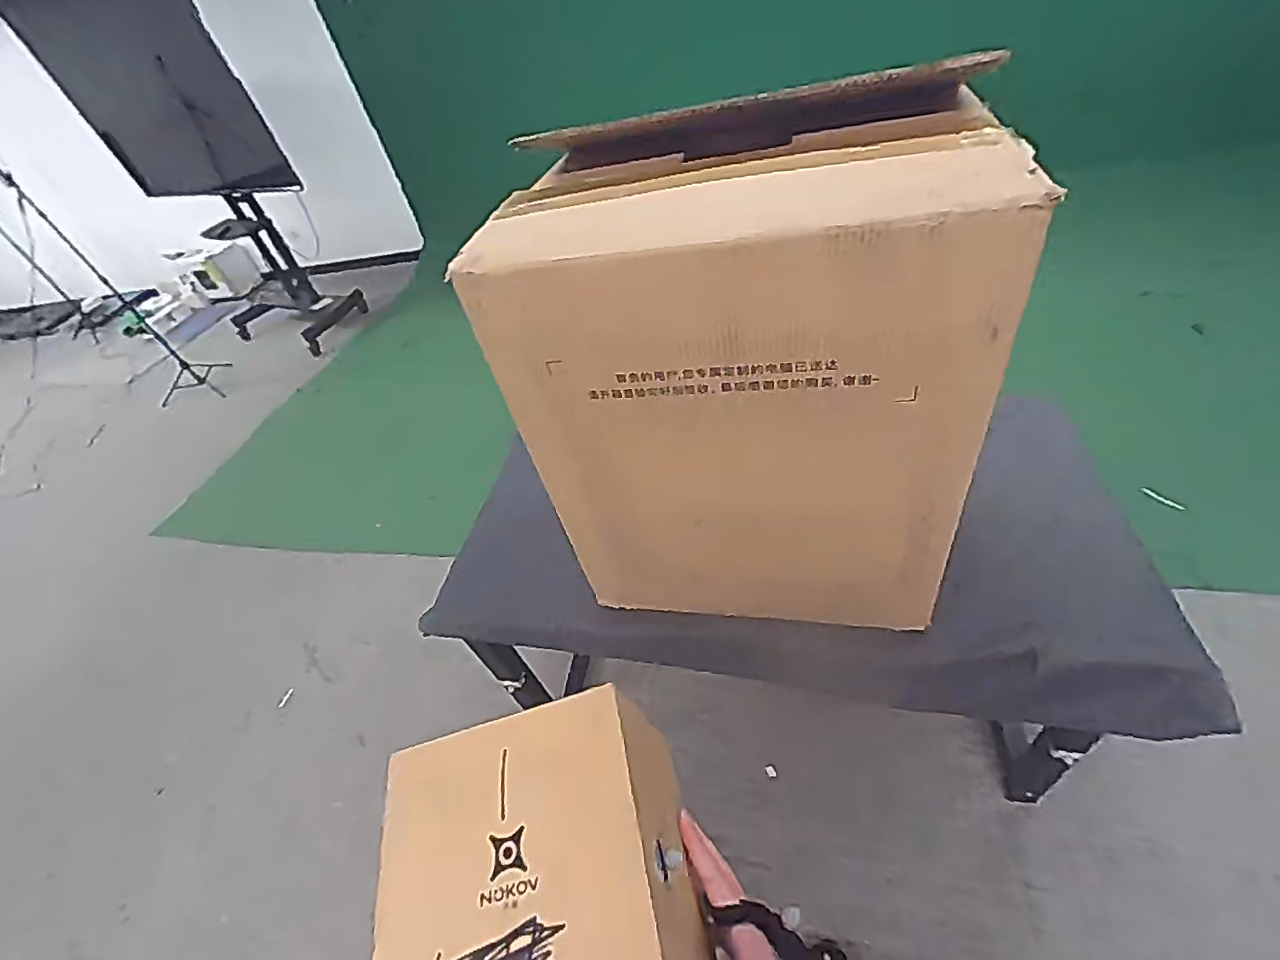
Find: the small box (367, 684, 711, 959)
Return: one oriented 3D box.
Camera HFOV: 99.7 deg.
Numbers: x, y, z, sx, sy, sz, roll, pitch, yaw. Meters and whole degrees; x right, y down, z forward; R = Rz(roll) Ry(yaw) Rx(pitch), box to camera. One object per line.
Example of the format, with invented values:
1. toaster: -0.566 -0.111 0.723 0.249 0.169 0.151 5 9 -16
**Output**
1. small box: -0.059 0.271 0.376 0.168 0.176 0.179 -19 50 5
